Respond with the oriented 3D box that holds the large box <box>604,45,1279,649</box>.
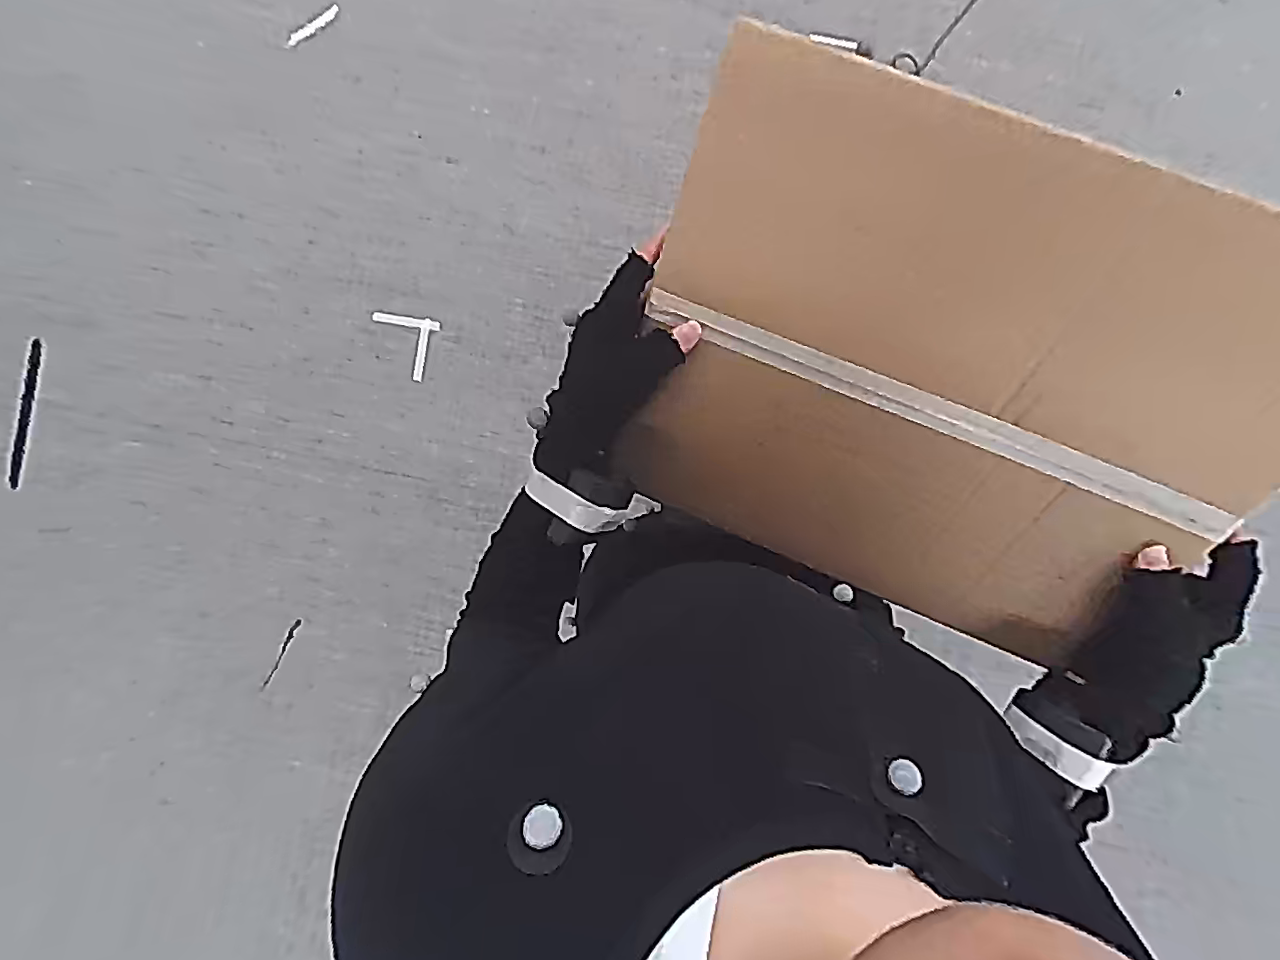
[{"bbox_3d":[0.228,-0.127,0.495,0.408,0.320,0.320,23,125,4],"label":"large box"}]
